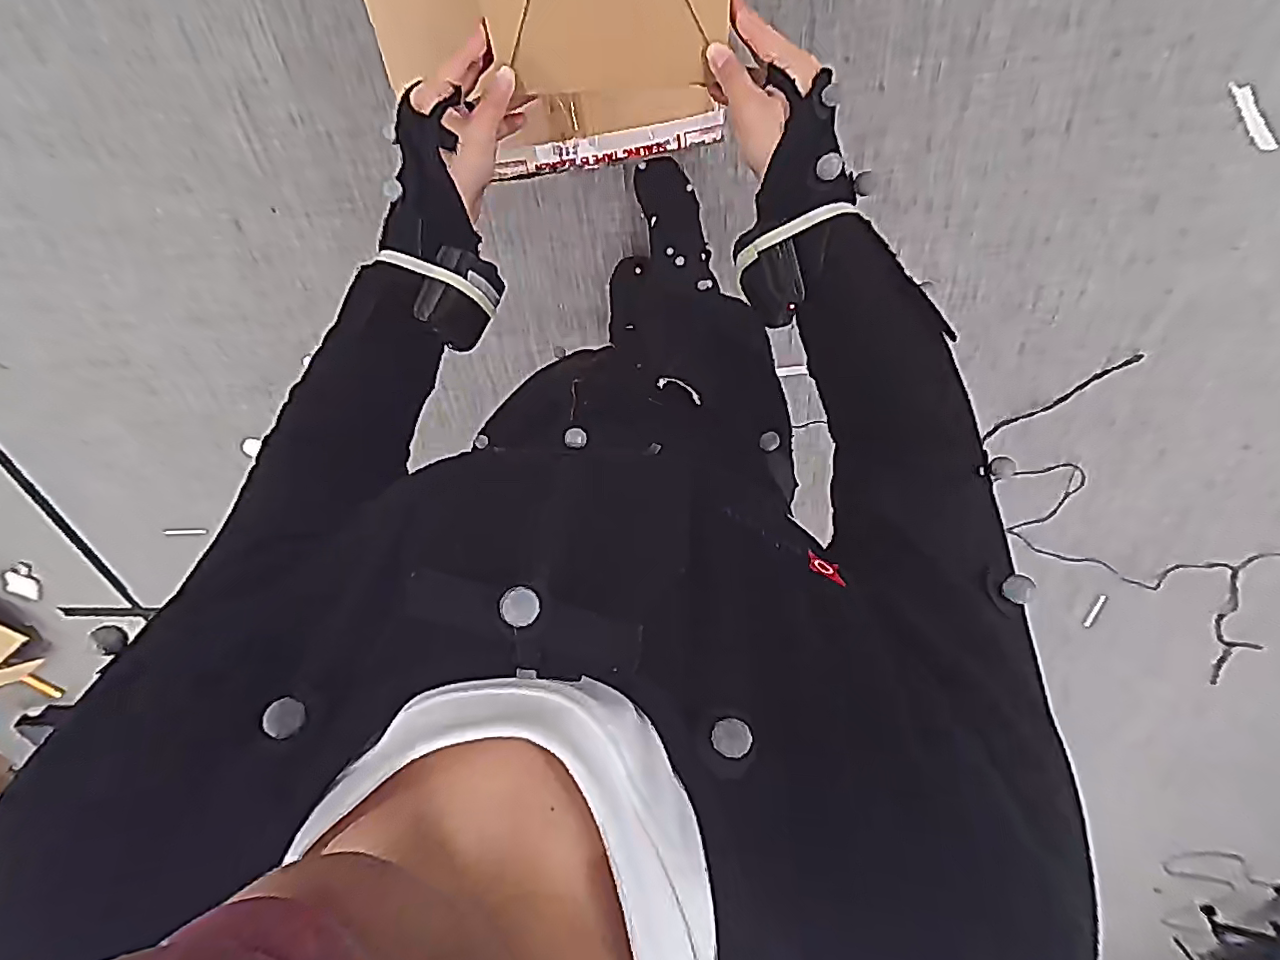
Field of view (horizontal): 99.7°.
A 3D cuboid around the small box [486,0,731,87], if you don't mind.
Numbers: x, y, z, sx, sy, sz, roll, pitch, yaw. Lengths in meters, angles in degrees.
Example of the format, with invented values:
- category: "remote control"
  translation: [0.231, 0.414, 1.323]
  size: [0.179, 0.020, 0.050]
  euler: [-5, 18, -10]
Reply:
- category: "small box"
  translation: [-0.021, -0.403, 0.378]
  size: [0.168, 0.176, 0.179]
  euler: [-1, 140, 5]
